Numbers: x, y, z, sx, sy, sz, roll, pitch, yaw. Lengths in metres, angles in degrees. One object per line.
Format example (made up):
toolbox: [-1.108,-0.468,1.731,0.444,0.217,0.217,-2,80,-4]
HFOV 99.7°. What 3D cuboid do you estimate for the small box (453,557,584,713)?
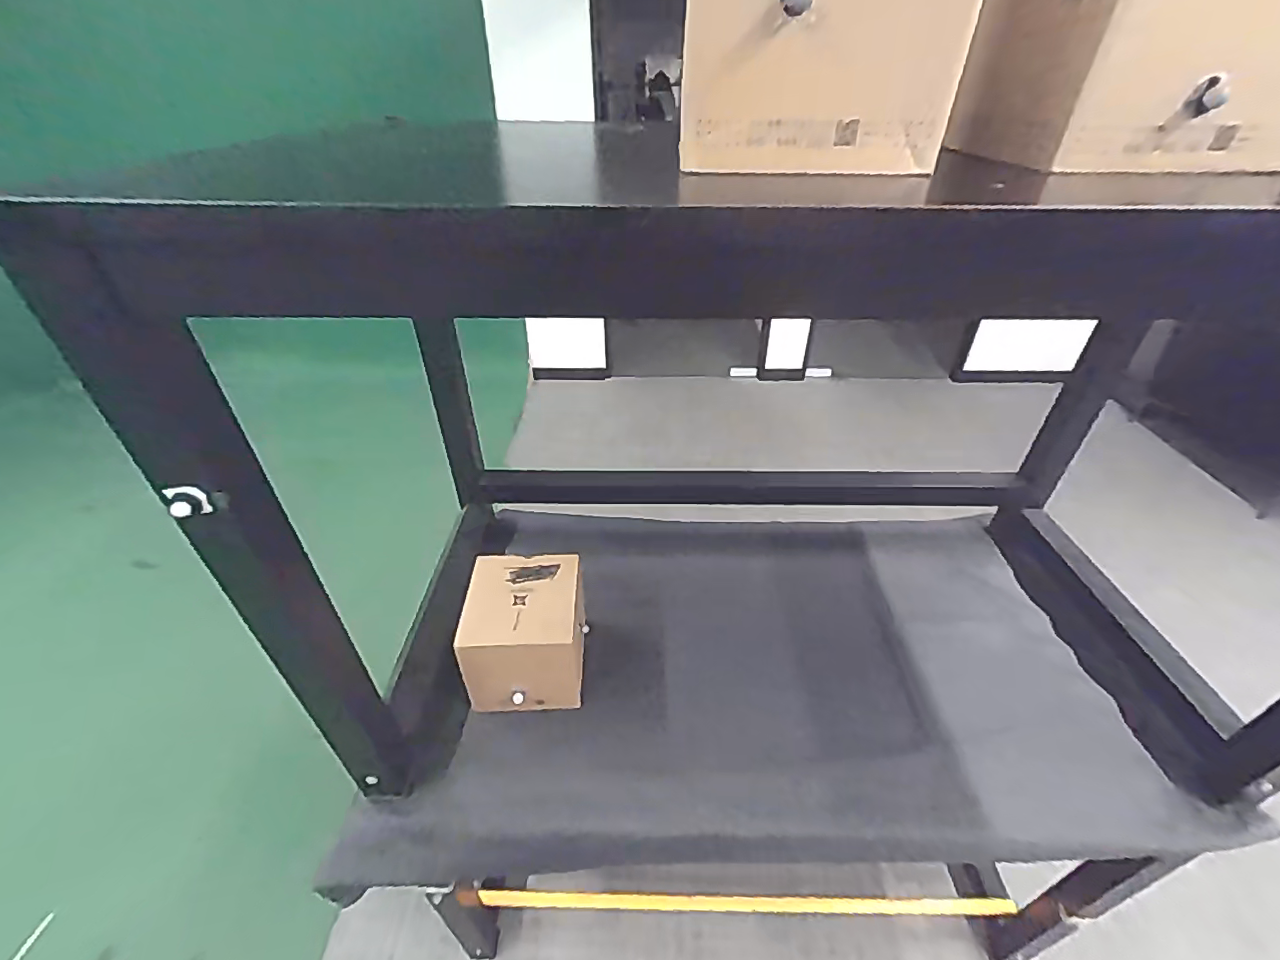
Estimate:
small box: [-0.178,0.242,0.853,0.168,0.176,0.179,-1,37,-2]

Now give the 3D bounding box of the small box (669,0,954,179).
small box: [0.106,-0.316,0.379,0.168,0.176,0.179,2,36,3]
